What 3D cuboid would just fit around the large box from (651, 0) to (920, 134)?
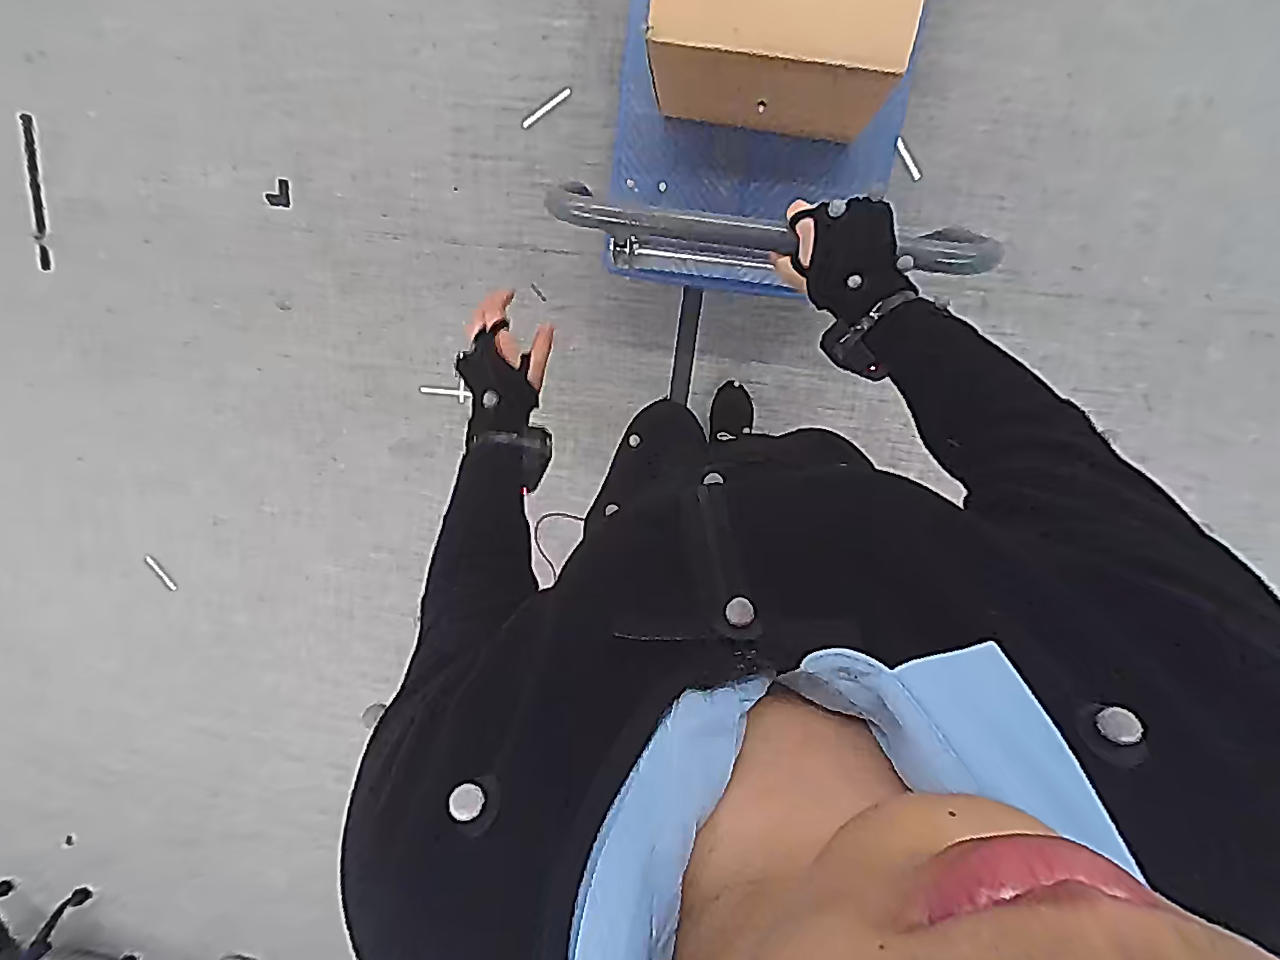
[{"bbox_3d":[0.252,-0.845,0.945,0.408,0.320,0.320,10,105,5],"label":"large box"}]
